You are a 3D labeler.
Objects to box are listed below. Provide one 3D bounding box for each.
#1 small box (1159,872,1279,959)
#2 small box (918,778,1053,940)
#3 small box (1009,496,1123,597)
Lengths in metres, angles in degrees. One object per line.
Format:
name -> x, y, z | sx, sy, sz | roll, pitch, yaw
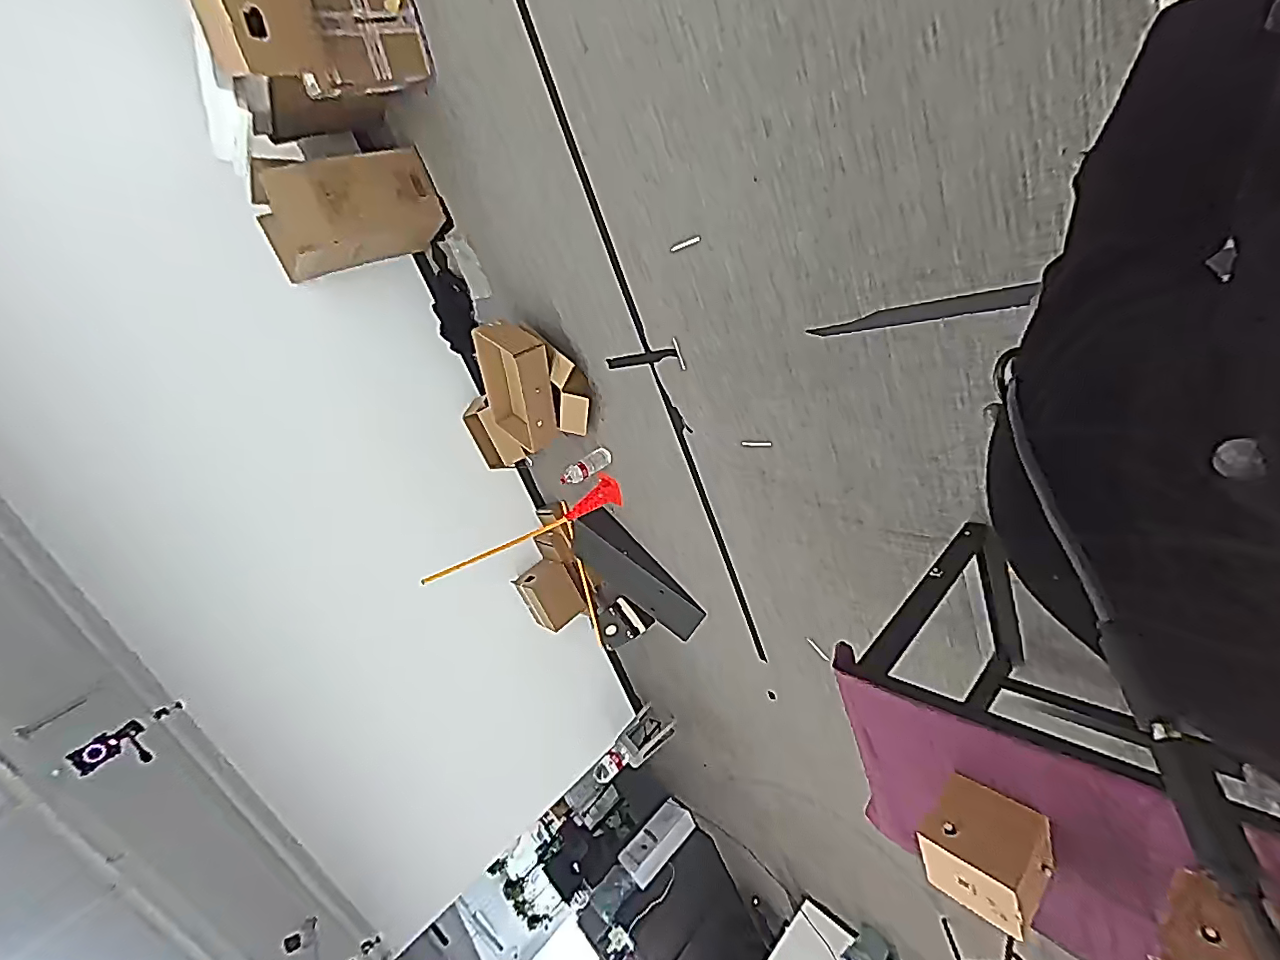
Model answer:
small box -> 0.890, 0.736, 0.794 | 0.168, 0.176, 0.179 | 9, 128, 53
small box -> 0.690, 0.738, 1.079 | 0.179, 0.176, 0.168 | 8, 126, 51
small box -> 1.099, 0.162, 1.398 | 0.179, 0.176, 0.168 | 24, 136, 41
